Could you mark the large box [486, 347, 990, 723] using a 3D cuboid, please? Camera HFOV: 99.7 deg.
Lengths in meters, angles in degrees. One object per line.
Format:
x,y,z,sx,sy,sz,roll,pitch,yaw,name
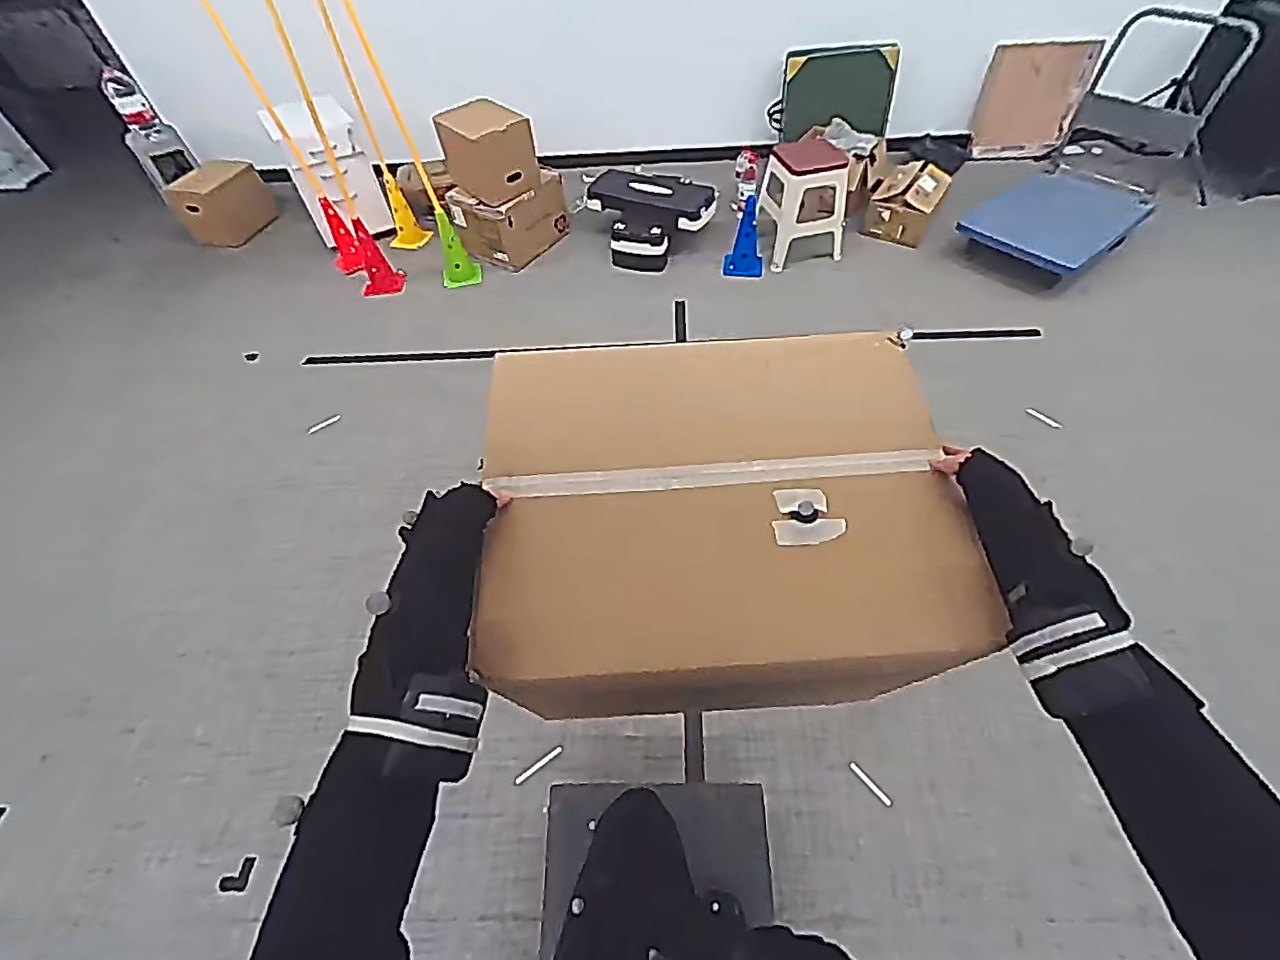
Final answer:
0.068,0.080,0.617,0.408,0.320,0.320,-4,61,-1,large box
